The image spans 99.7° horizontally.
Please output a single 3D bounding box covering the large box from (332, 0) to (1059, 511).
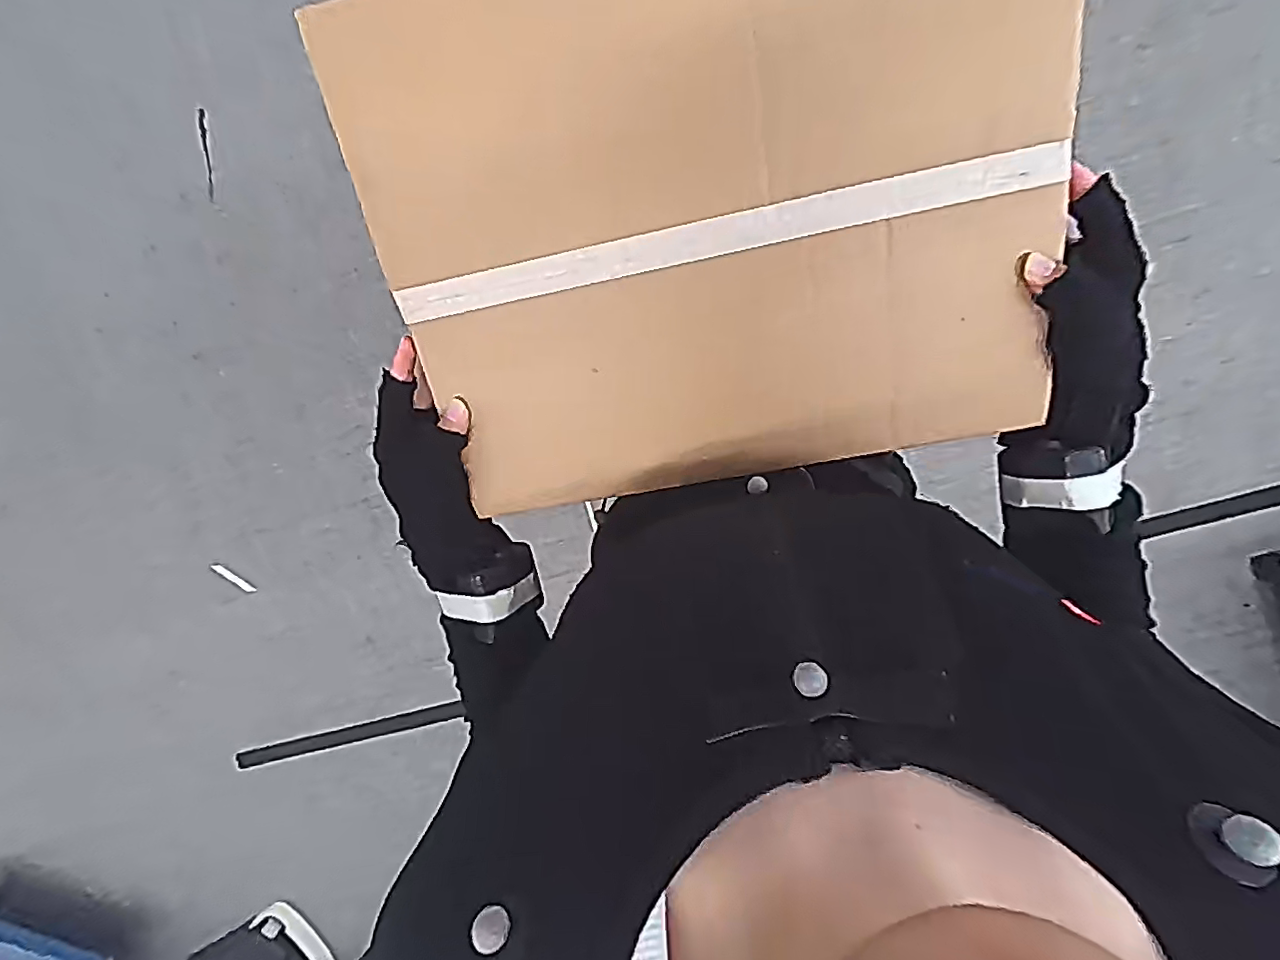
[{"bbox_3d":[0.049,-0.204,0.477,0.408,0.320,0.320,-10,113,6],"label":"large box"}]
